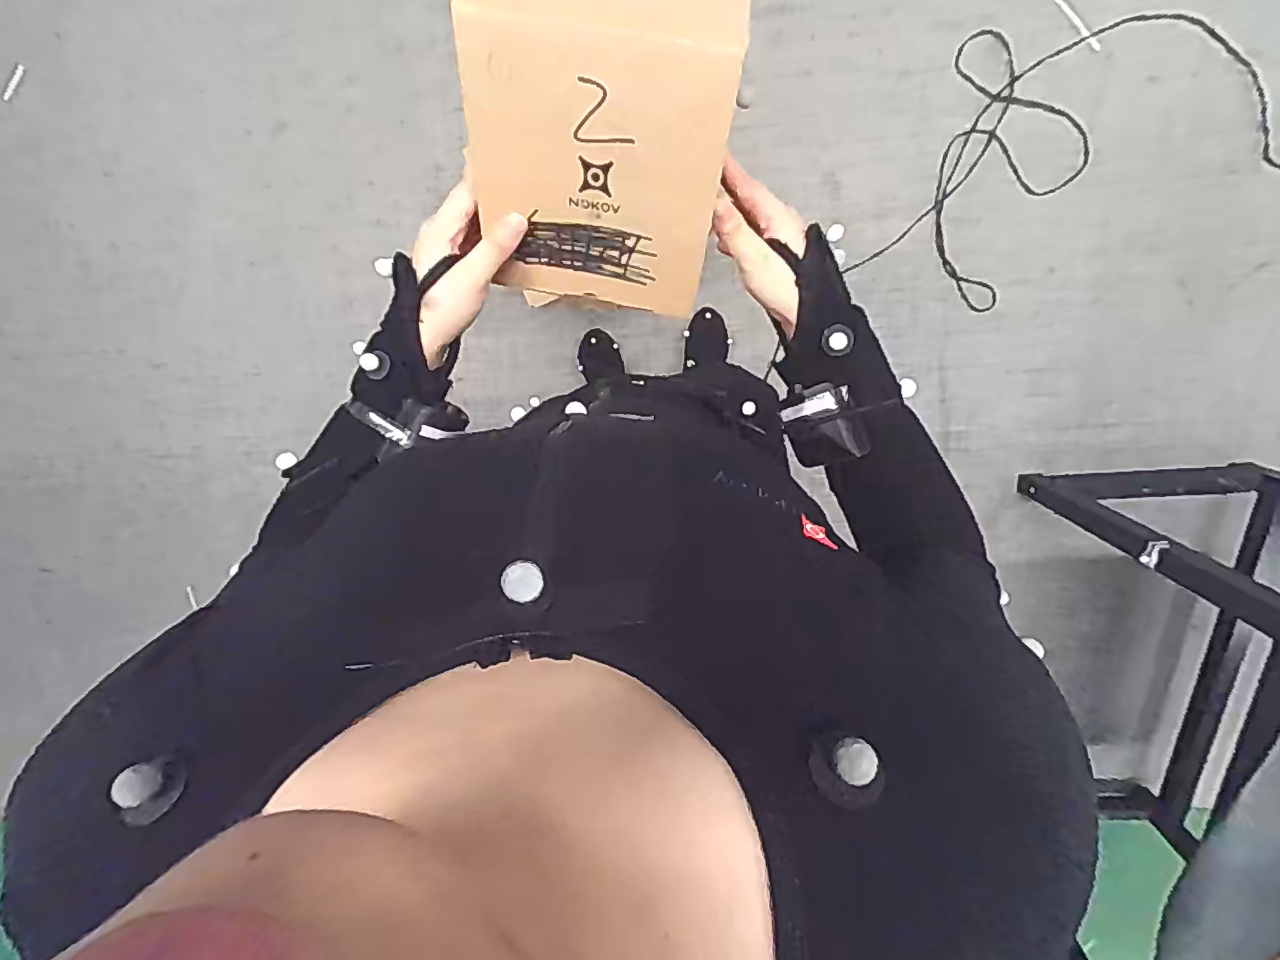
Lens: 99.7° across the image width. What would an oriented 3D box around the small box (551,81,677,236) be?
[{"bbox_3d":[-0.039,-0.534,0.927,0.168,0.176,0.179,18,112,-4],"label":"small box"}]
